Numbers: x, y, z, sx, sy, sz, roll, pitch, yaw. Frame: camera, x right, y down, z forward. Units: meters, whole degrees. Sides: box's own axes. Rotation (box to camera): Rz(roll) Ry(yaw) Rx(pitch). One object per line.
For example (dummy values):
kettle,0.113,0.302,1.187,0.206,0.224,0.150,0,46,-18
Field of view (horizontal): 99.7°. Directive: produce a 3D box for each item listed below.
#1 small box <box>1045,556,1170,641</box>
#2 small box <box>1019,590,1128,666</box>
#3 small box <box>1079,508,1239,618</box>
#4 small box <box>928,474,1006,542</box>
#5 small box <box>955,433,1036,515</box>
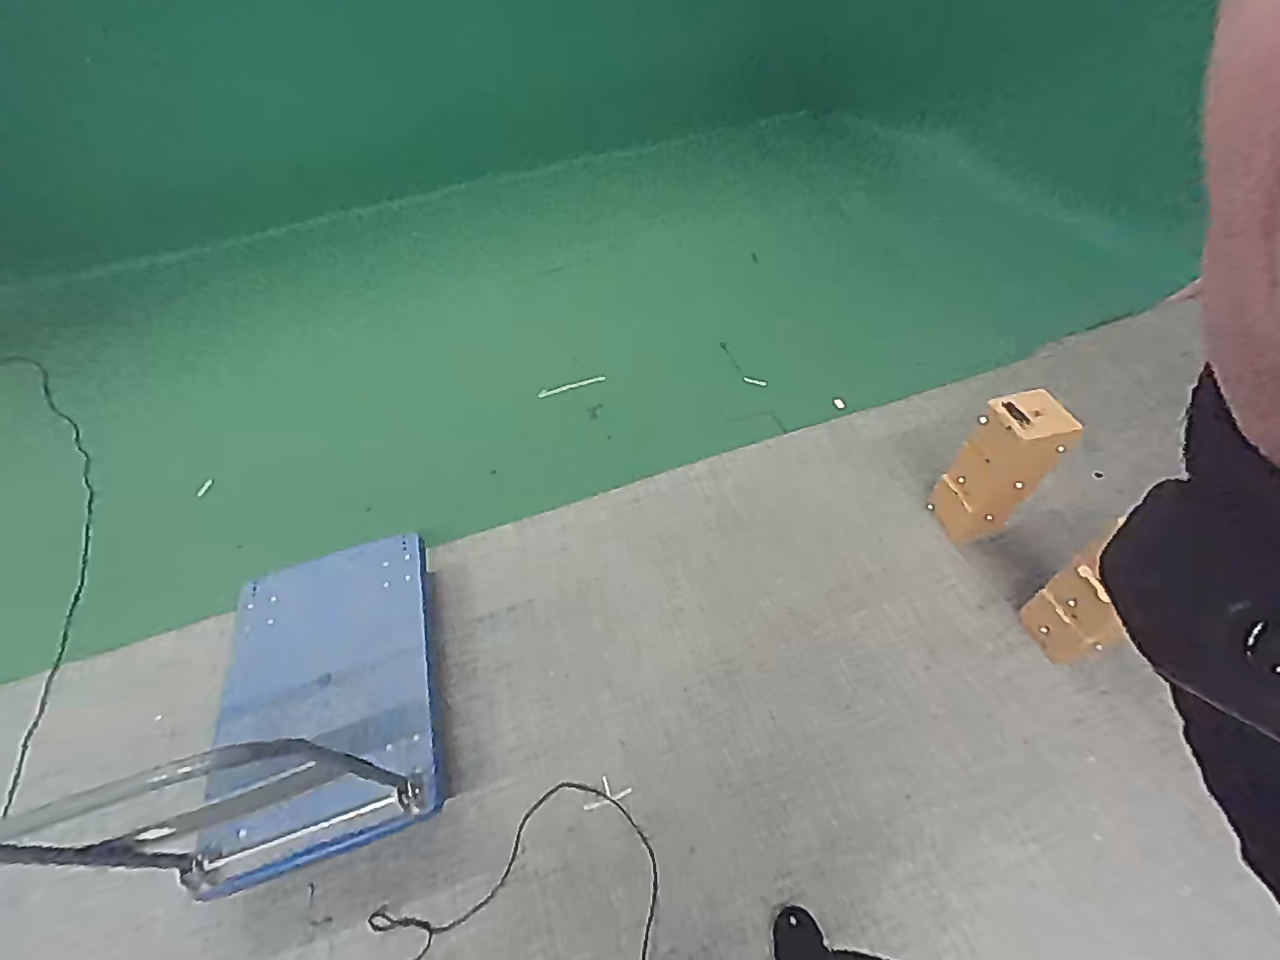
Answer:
small box,1.213,0.295,1.402,0.179,0.176,0.168,-12,50,-3
small box,1.217,0.403,1.527,0.179,0.176,0.168,-15,51,-6
small box,1.200,0.197,1.272,0.168,0.176,0.179,-12,50,-3
small box,1.094,0.087,1.803,0.179,0.176,0.168,-12,51,-5
small box,1.098,-0.018,1.687,0.168,0.176,0.179,11,52,17
